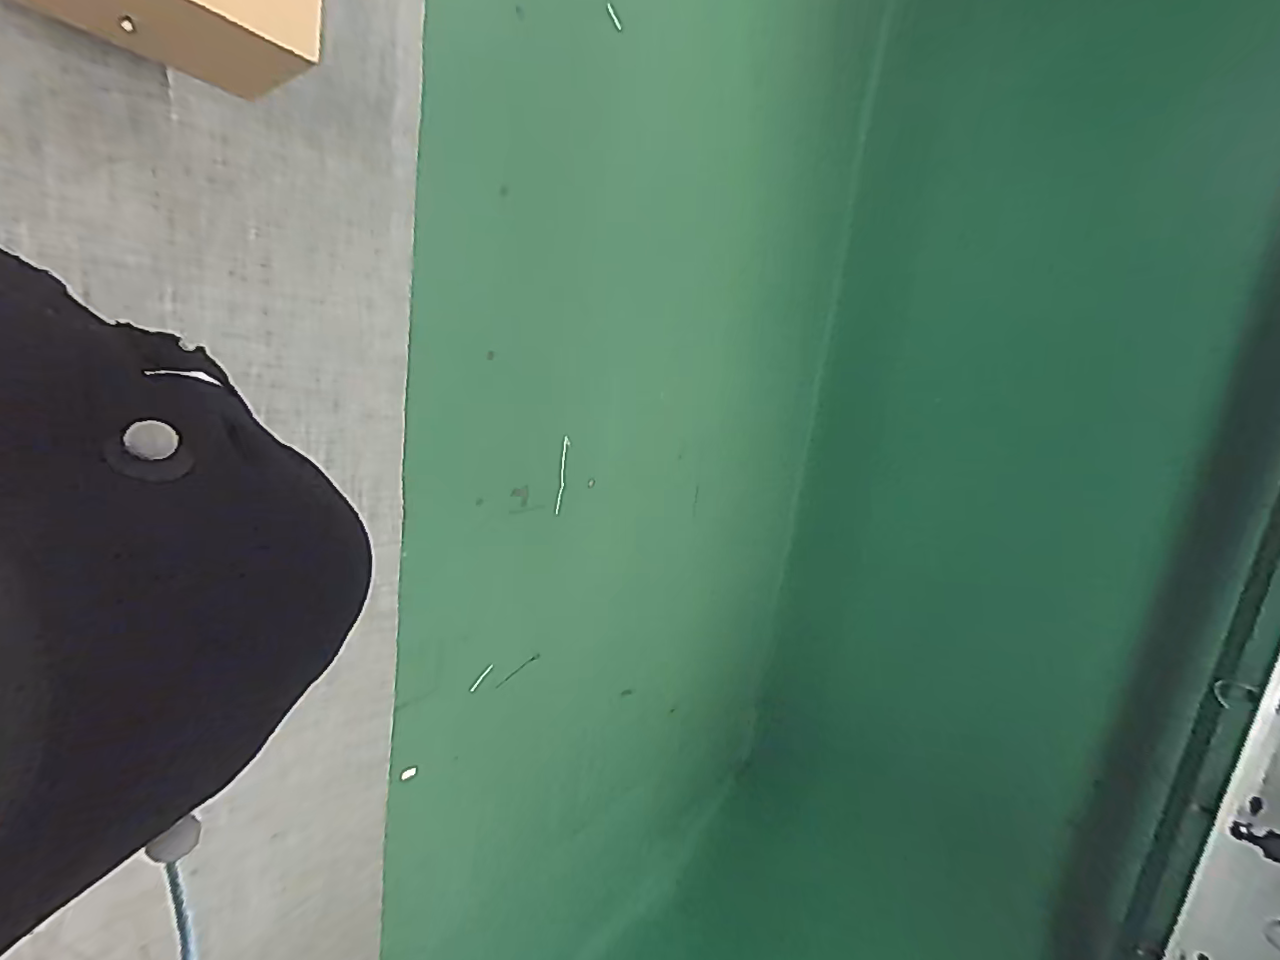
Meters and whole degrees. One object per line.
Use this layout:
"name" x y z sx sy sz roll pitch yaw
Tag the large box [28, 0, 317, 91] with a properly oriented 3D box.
"large box" -0.737 -0.844 0.776 0.408 0.320 0.320 -4 106 -51
